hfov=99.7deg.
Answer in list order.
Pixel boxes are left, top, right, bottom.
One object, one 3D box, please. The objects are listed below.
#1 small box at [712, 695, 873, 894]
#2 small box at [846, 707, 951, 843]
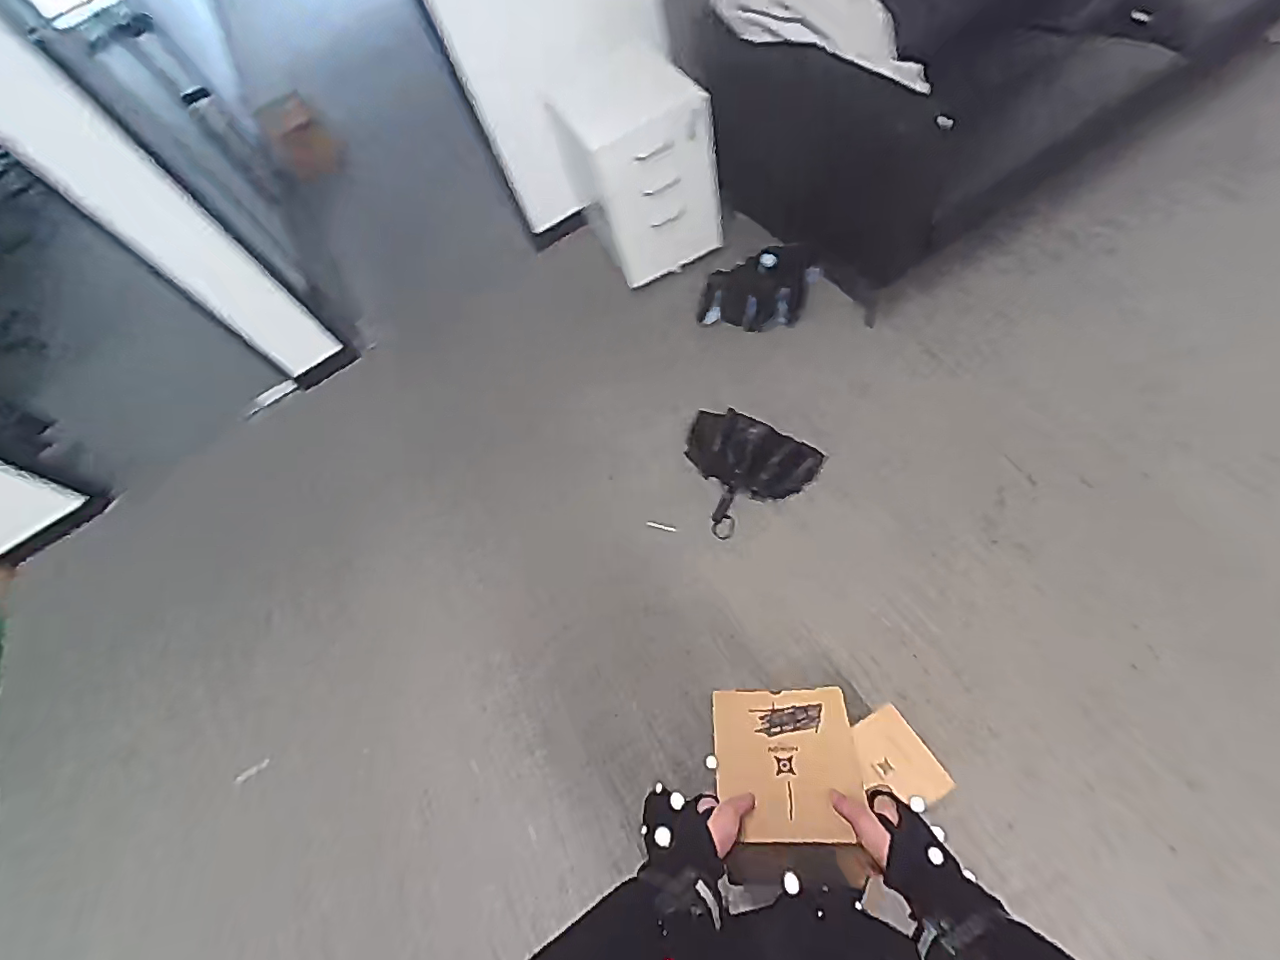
[{"bbox_3d":[0.182,0.400,0.692,0.168,0.176,0.179,-6,40,8],"label":"small box"},{"bbox_3d":[0.465,0.578,1.067,0.179,0.176,0.168,-32,60,-6],"label":"small box"}]
